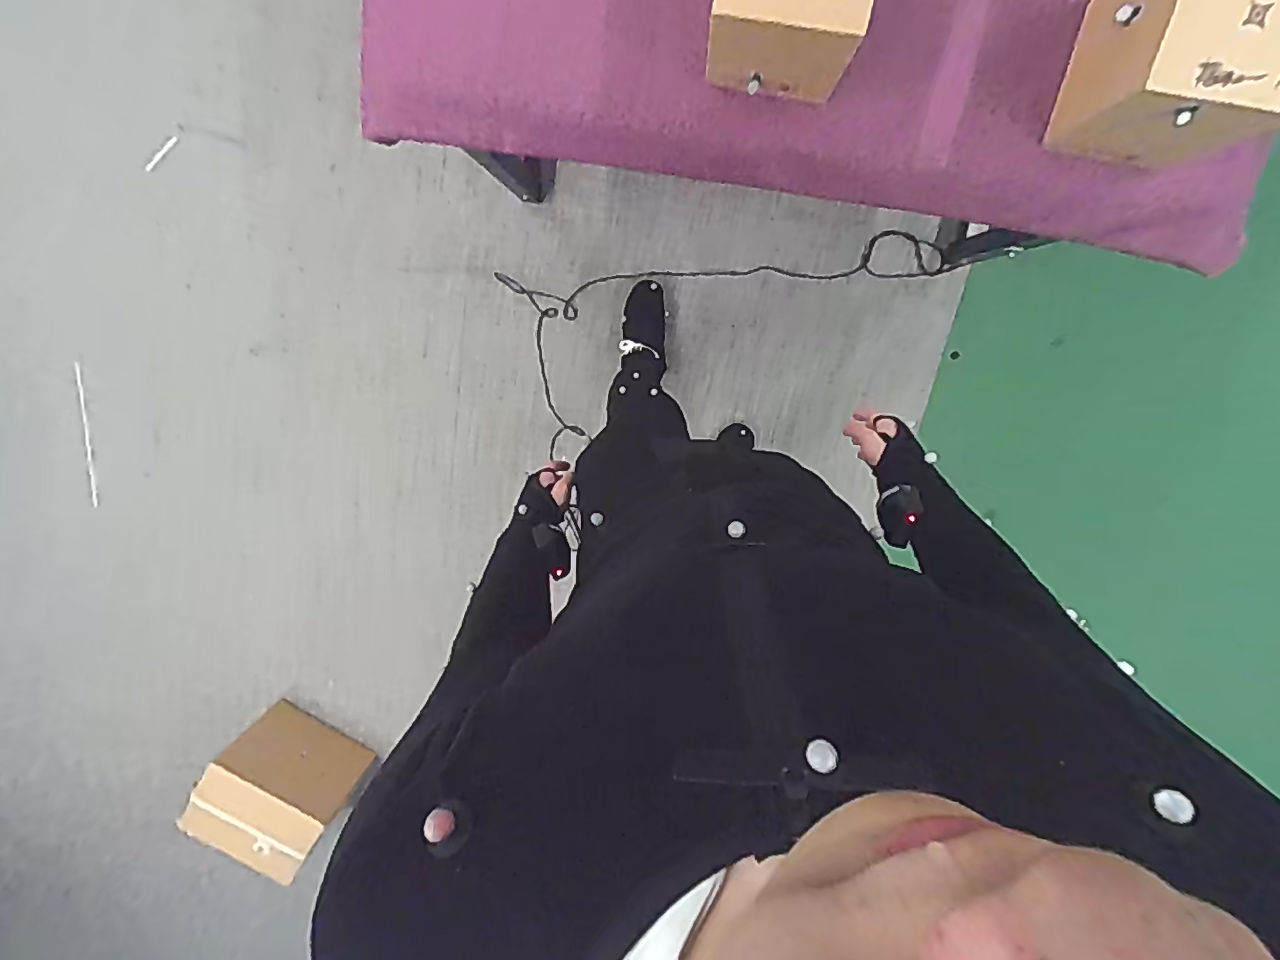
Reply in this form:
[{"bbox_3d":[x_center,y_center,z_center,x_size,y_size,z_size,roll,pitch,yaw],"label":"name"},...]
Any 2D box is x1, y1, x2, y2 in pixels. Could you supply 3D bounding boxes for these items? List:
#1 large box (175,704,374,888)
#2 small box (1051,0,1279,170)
[{"bbox_3d":[-1.208,1.047,1.822,0.408,0.320,0.320,33,105,-6],"label":"large box"},{"bbox_3d":[0.621,-0.487,0.613,0.168,0.176,0.179,12,103,2],"label":"small box"}]
